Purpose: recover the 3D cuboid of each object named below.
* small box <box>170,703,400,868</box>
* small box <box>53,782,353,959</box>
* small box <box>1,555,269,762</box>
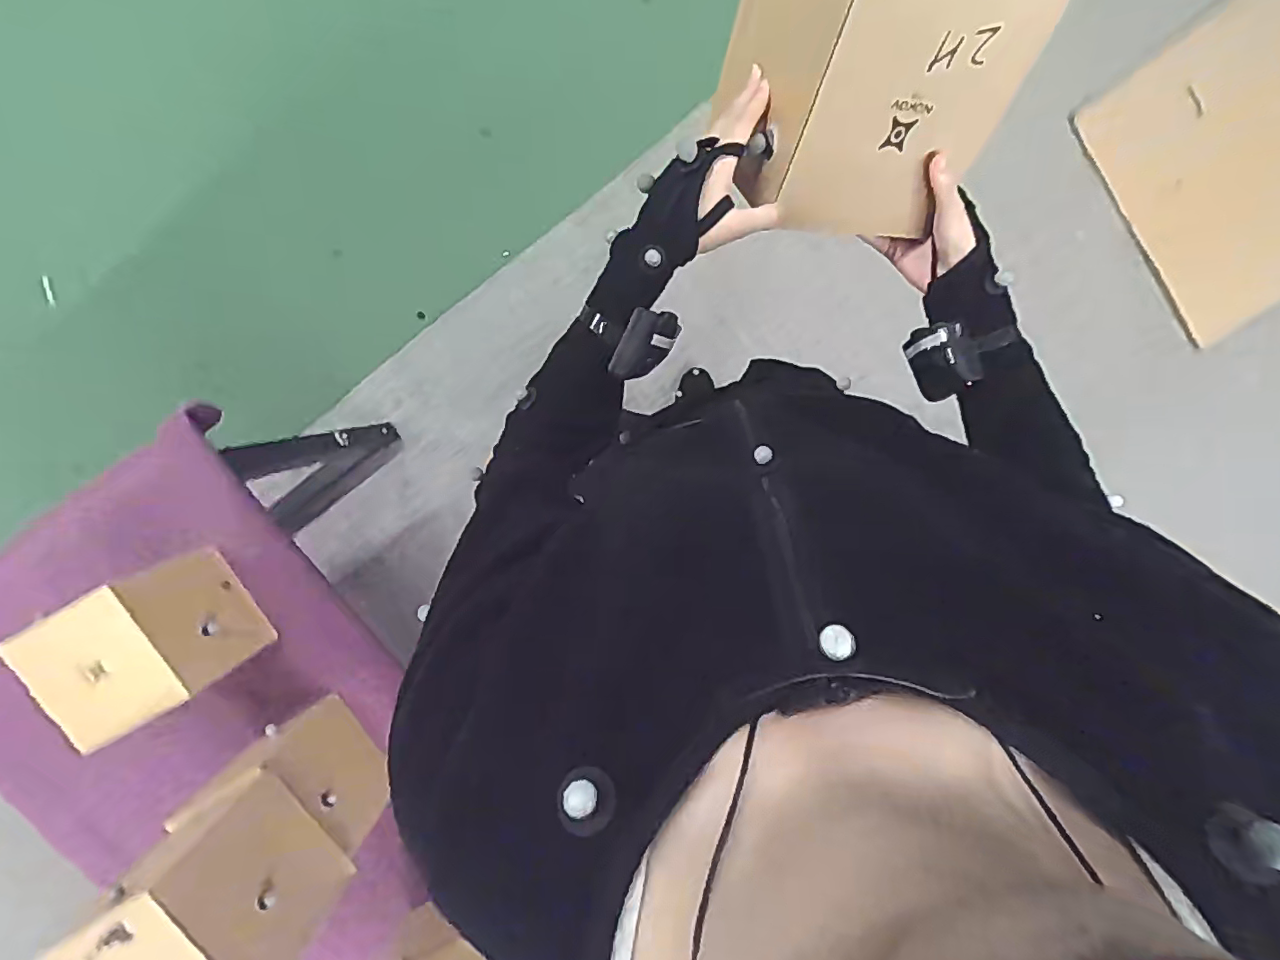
[{"bbox_3d":[-0.482,0.461,0.767,0.168,0.176,0.179,-33,97,7],"label":"small box"},{"bbox_3d":[-0.469,0.490,0.605,0.168,0.176,0.179,-34,99,7],"label":"small box"},{"bbox_3d":[-0.650,0.226,0.729,0.179,0.176,0.168,-29,99,6],"label":"small box"}]
